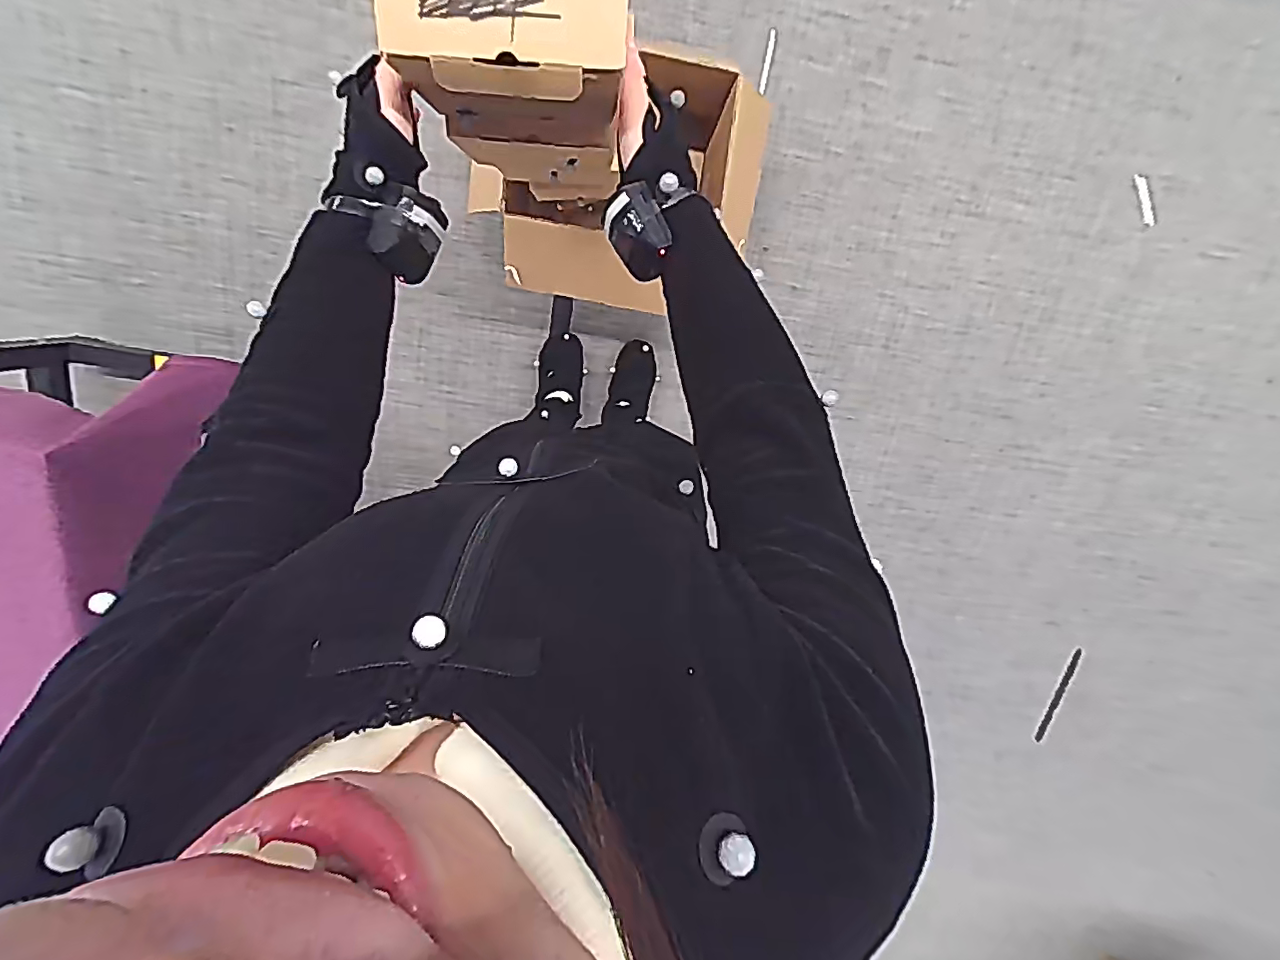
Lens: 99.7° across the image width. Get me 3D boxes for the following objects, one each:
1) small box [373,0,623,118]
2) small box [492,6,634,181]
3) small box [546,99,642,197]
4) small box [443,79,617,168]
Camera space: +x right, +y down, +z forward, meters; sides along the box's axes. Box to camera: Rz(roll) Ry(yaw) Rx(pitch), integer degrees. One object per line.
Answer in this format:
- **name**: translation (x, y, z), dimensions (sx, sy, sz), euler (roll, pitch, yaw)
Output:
- **small box**: translation (-0.096, -0.394, 0.407), dimensions (0.168, 0.176, 0.179), euler (0, 112, -7)
- **small box**: translation (-0.104, -0.501, 0.717), dimensions (0.179, 0.176, 0.168), euler (0, 113, -6)
- **small box**: translation (-0.102, -0.644, 1.015), dimensions (0.179, 0.176, 0.168), euler (-13, 113, -2)
- **small box**: translation (-0.107, -0.440, 0.565), dimensions (0.168, 0.176, 0.179), euler (1, 112, -7)
